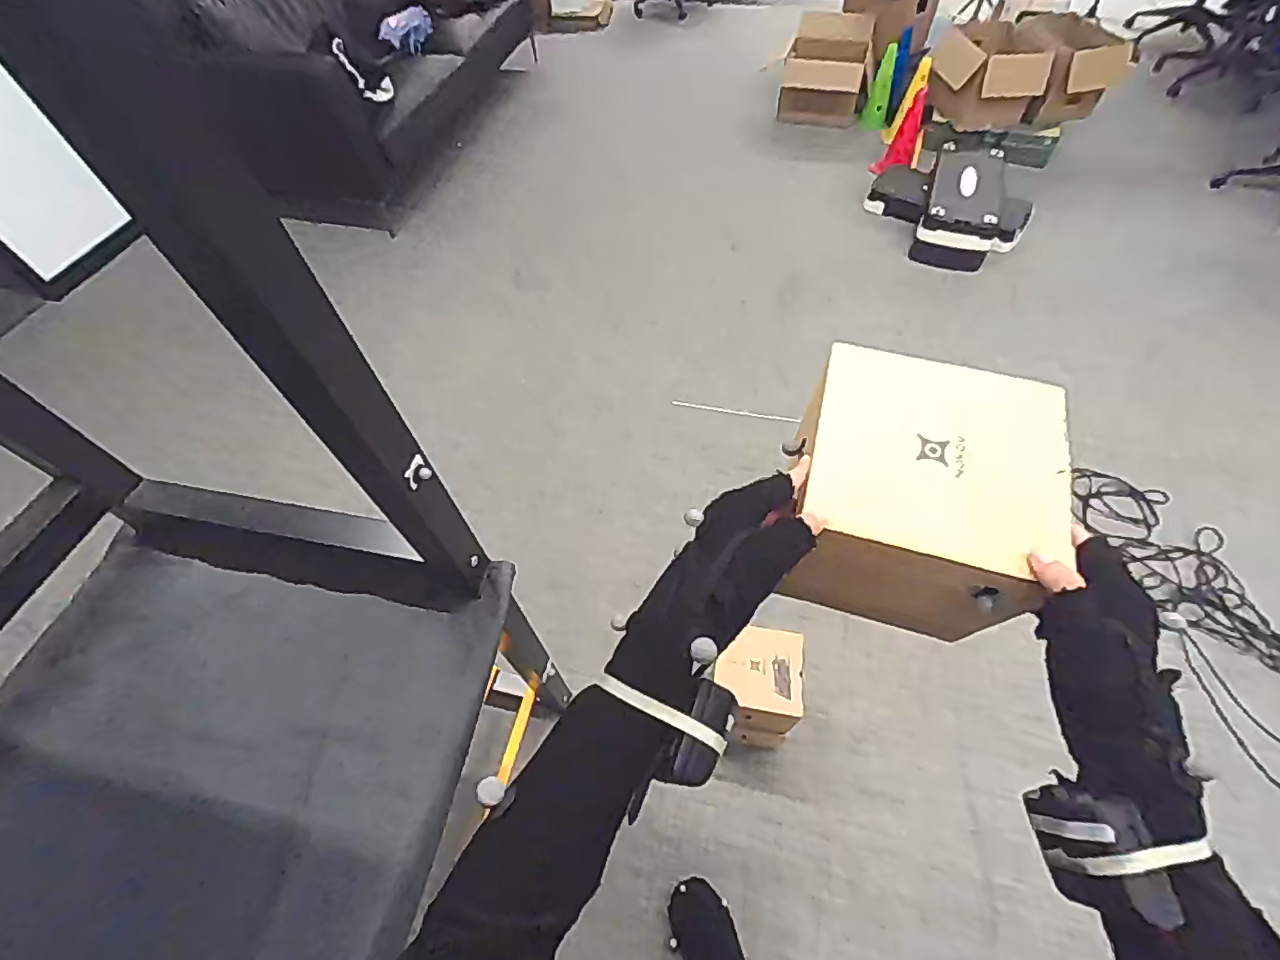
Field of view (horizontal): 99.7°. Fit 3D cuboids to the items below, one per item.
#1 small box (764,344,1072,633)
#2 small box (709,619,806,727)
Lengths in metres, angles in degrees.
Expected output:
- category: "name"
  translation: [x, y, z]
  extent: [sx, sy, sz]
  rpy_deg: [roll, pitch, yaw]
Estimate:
- category: "small box"
  translation: [0.212, 0.017, 0.453]
  extent: [0.179, 0.176, 0.168]
  rpy_deg: [15, 67, 9]
- category: "small box"
  translation: [0.245, 0.413, 1.146]
  extent: [0.179, 0.176, 0.168]
  rpy_deg: [7, 57, 10]
